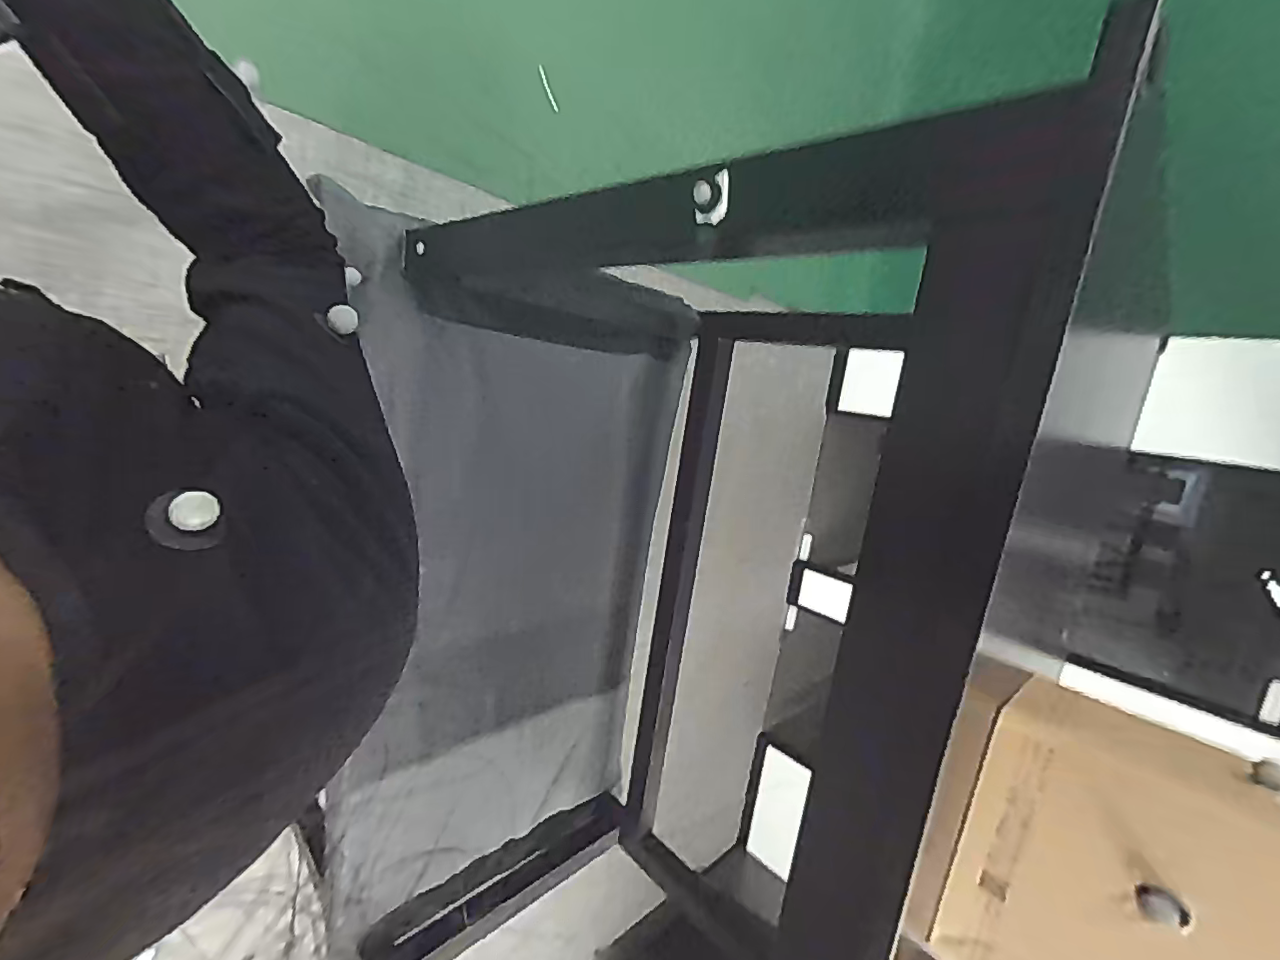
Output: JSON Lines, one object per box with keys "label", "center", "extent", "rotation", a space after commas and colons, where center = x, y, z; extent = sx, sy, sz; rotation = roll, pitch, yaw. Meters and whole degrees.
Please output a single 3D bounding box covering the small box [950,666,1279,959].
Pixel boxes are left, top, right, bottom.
{"label": "small box", "center": [0.325, 0.241, 0.352], "extent": [0.179, 0.176, 0.168], "rotation": [10, 96, -47]}
